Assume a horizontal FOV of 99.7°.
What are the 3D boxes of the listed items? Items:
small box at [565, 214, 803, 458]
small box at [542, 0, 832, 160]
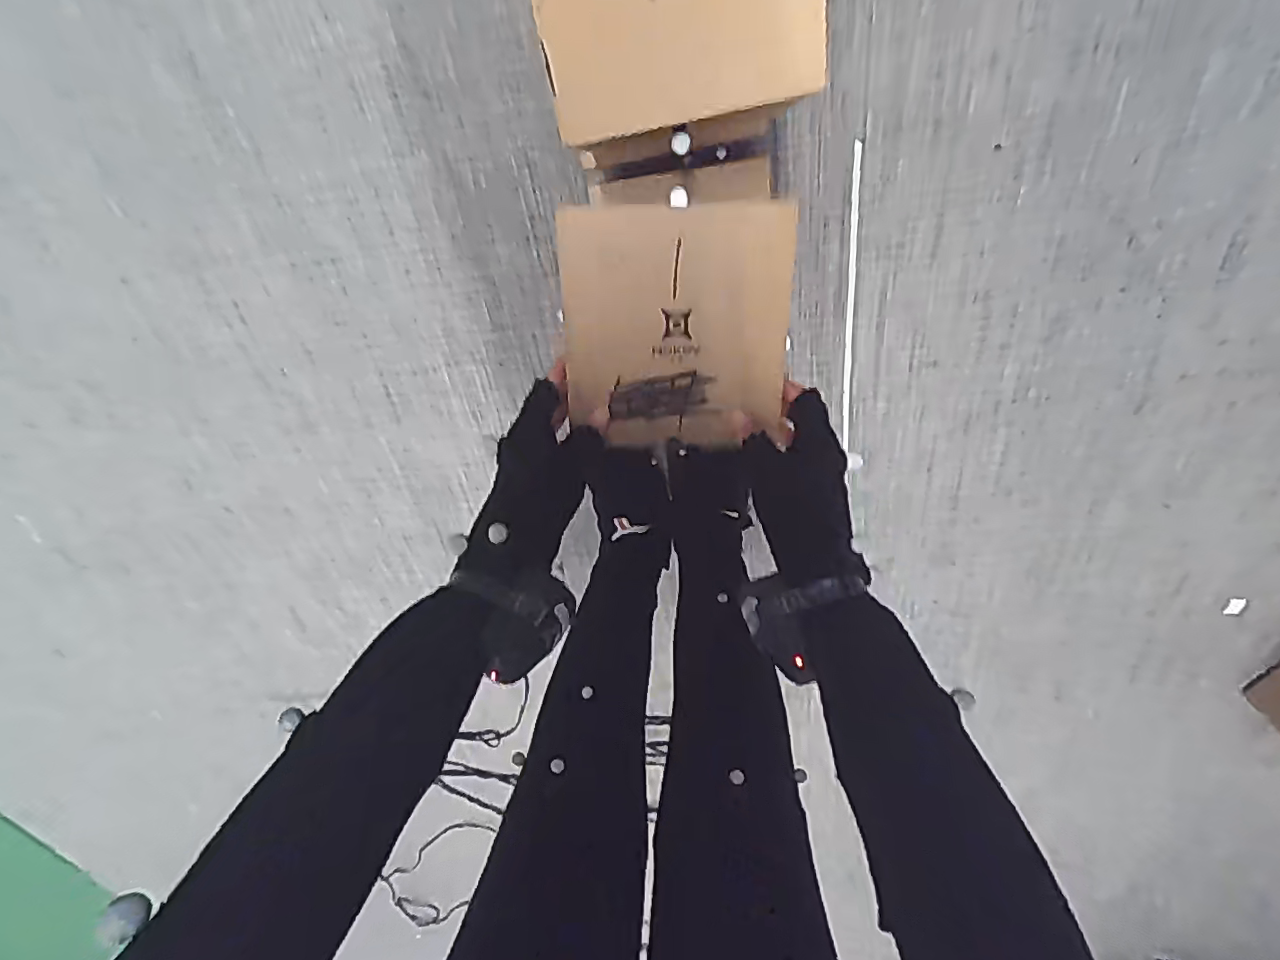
[{"bbox_3d":[0.032,-0.130,0.472,0.168,0.176,0.179,1,112,1],"label":"small box"},{"bbox_3d":[0.031,-0.344,0.393,0.179,0.176,0.168,-7,119,10],"label":"small box"}]
